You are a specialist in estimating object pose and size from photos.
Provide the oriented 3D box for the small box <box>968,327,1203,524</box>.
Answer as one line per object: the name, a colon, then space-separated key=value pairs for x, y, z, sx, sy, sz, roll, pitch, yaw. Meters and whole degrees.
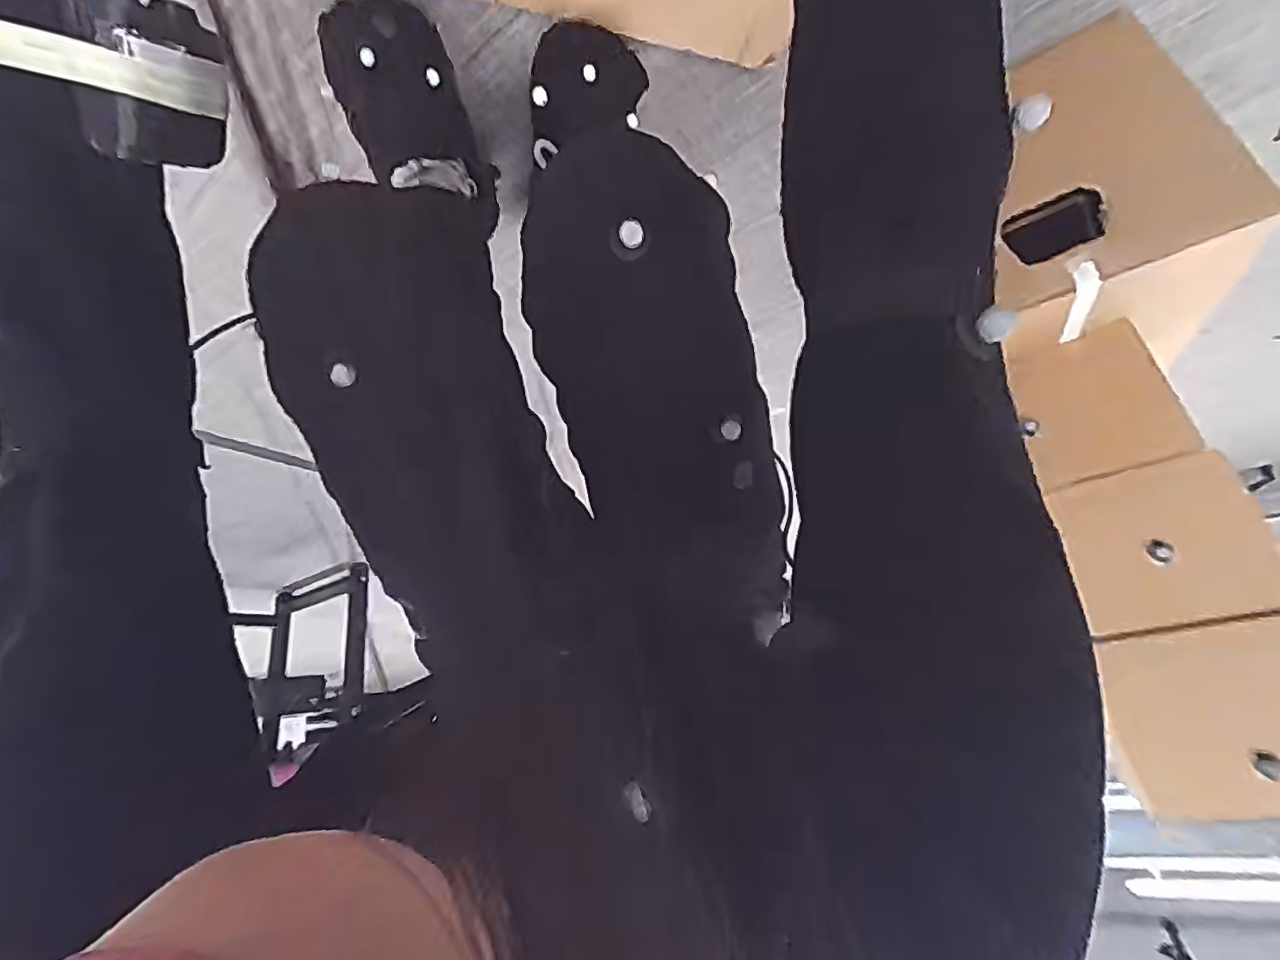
small box: x=0.538 y=-0.060 z=0.687 sx=0.179 sy=0.176 sz=0.168 roll=-22 pitch=156 yaw=28

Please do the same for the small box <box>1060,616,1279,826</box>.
small box: x=0.593 y=0.245 z=0.574 sx=0.179 sy=0.176 sz=0.168 roll=-20 pitch=156 yaw=26
